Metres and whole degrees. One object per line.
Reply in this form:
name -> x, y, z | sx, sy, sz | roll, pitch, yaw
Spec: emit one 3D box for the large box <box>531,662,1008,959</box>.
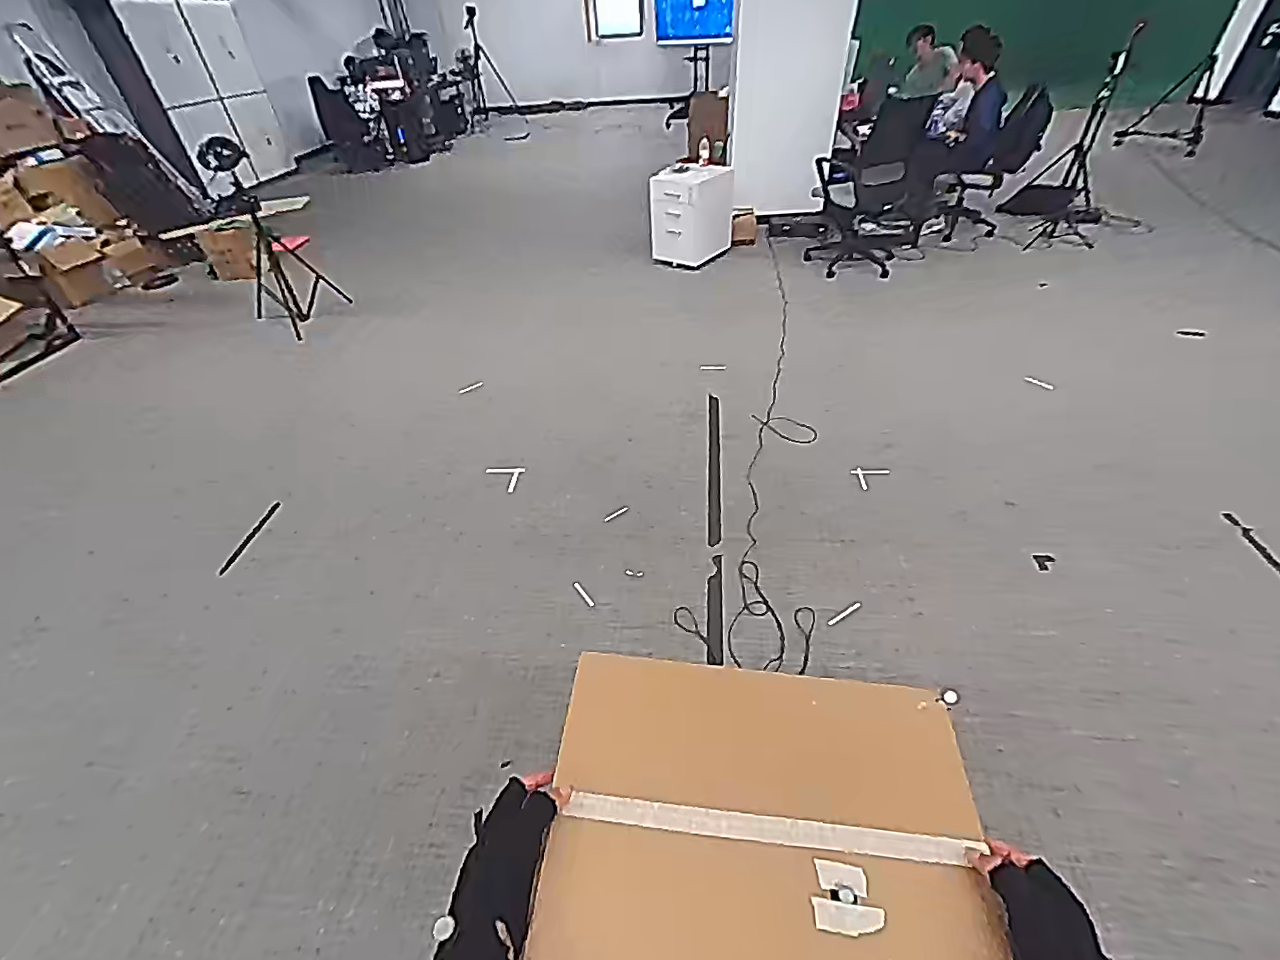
large box -> 0.116, 0.441, 0.619 | 0.408, 0.320, 0.320 | 5, 45, 5
